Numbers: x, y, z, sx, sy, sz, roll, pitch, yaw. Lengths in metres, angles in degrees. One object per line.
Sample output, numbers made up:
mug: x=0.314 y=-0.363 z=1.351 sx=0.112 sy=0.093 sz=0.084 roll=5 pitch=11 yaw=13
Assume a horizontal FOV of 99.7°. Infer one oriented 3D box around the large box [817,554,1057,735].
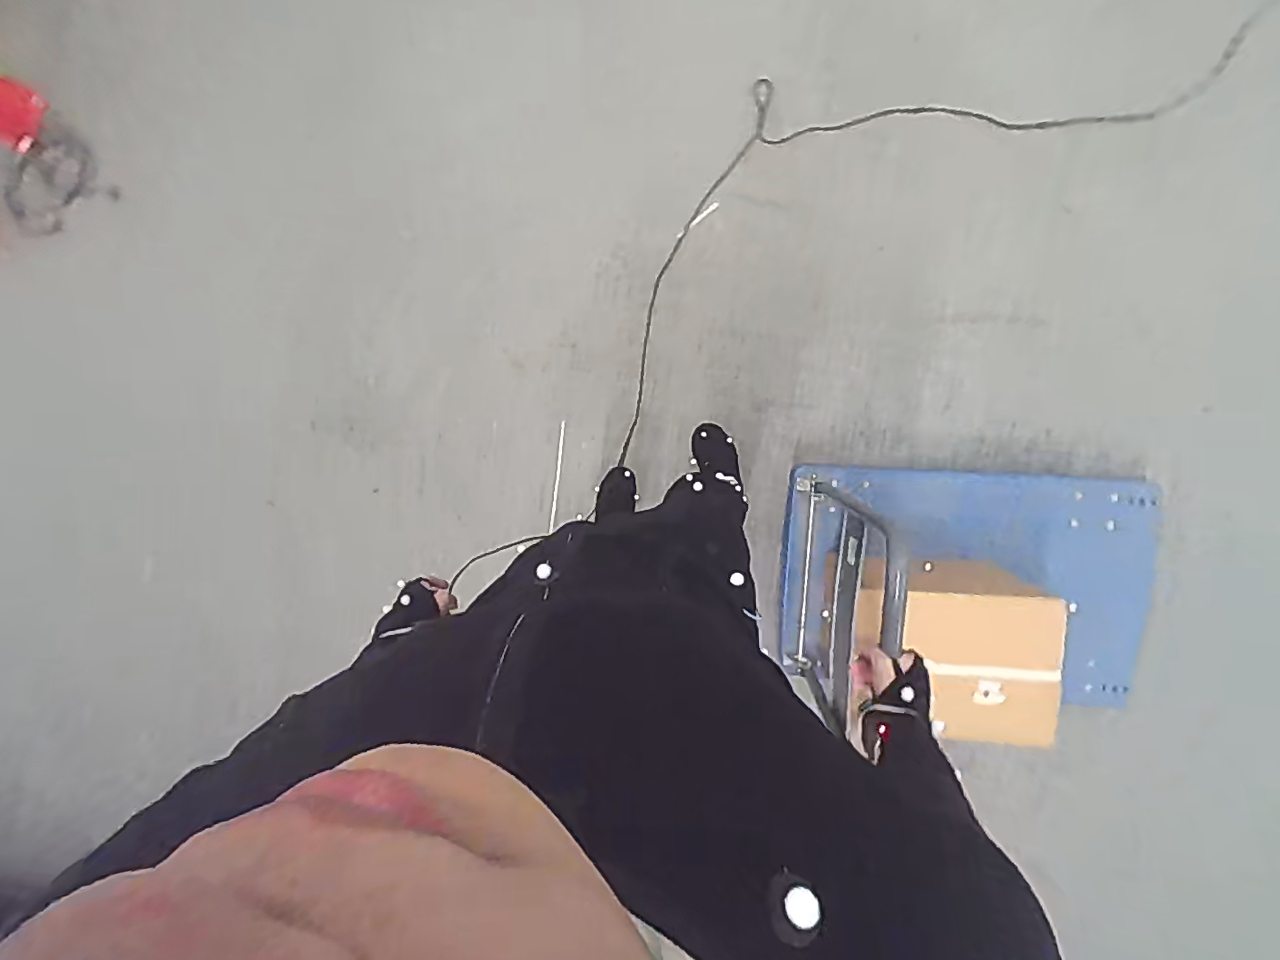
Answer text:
large box: x=0.651 y=0.358 z=1.262 sx=0.408 sy=0.320 sz=0.320 roll=1 pitch=97 yaw=6
